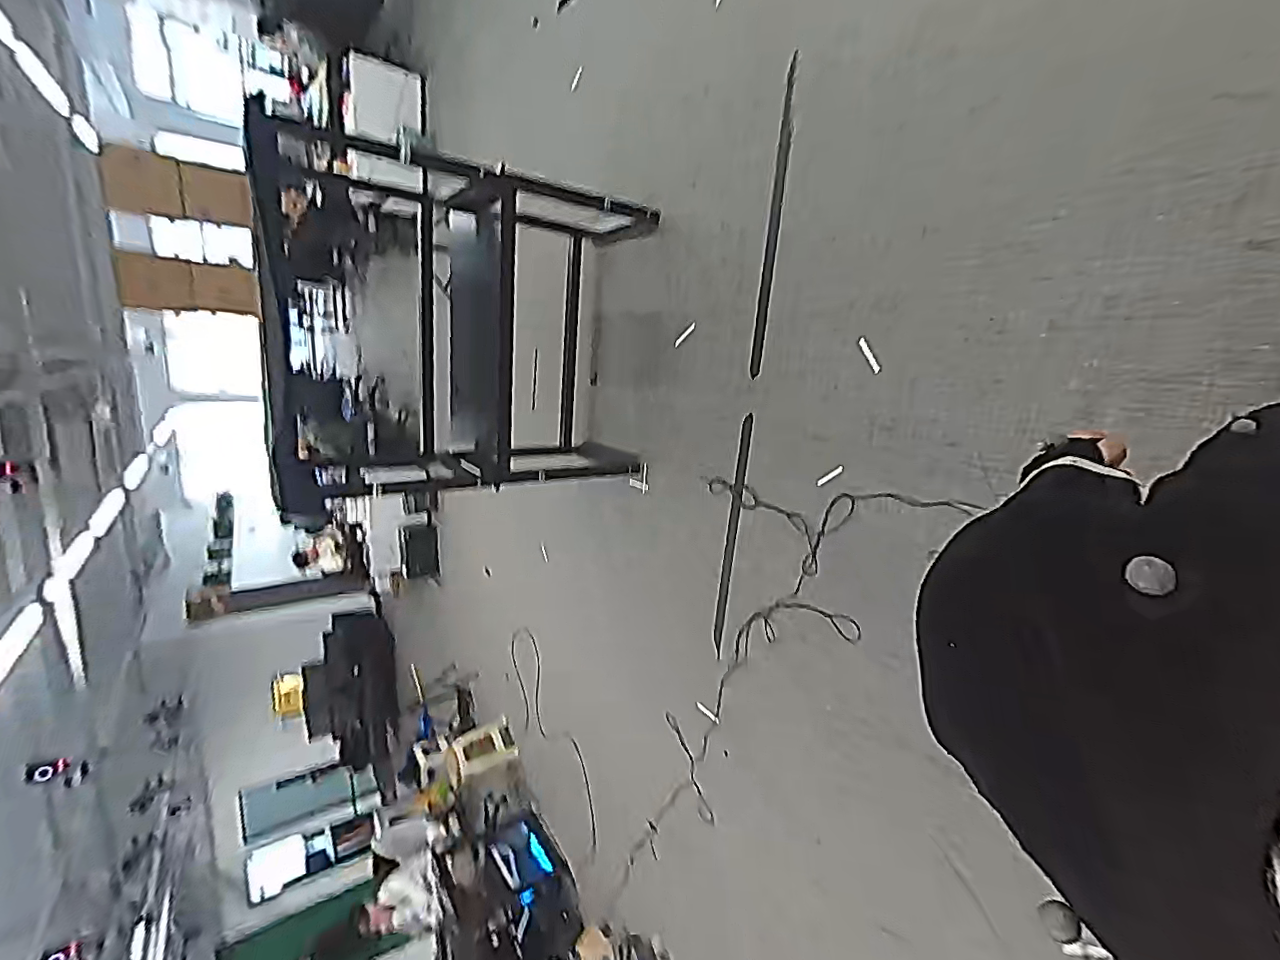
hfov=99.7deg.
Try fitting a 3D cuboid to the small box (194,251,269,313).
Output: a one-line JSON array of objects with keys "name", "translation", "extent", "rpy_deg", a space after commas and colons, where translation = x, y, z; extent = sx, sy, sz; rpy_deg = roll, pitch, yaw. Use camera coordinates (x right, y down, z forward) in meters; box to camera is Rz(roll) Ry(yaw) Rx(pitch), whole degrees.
[{"name": "small box", "translation": [-1.279, -0.621, 1.702], "extent": [0.179, 0.176, 0.168], "rpy_deg": [28, 117, 52]}]

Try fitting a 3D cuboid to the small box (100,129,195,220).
[{"name": "small box", "translation": [-1.380, -0.854, 1.529], "extent": [0.168, 0.176, 0.179], "rpy_deg": [26, 116, 54]}]

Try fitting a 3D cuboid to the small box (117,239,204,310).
[{"name": "small box", "translation": [-1.409, -0.605, 1.603], "extent": [0.168, 0.176, 0.179], "rpy_deg": [29, 119, 52]}]
